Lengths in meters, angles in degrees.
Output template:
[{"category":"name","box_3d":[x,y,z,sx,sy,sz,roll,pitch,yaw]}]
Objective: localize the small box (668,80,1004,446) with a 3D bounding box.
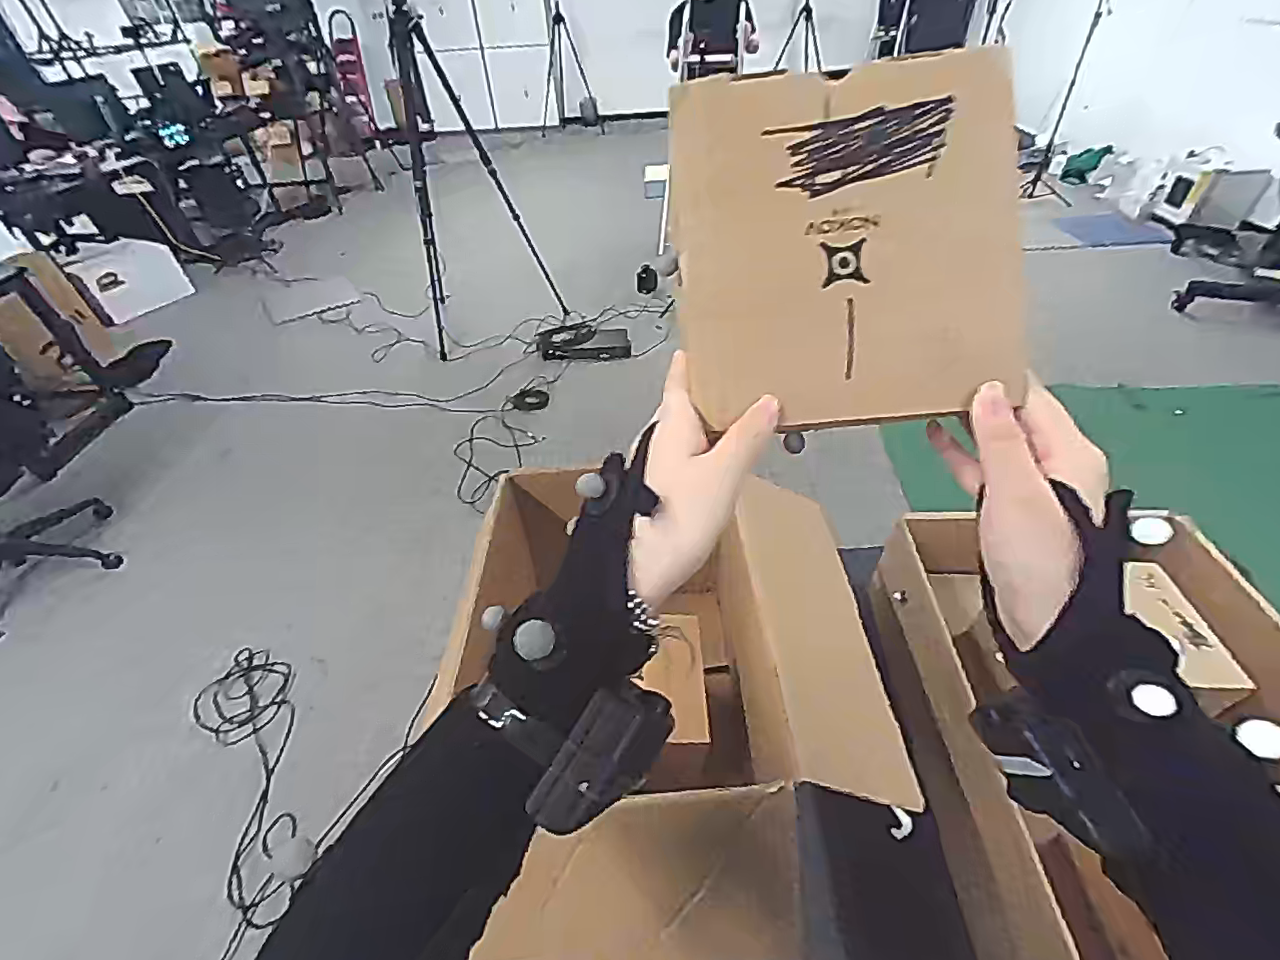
[{"category":"small box","box_3d":[0.105,-0.114,0.358,0.168,0.179,0.176,-4,4,4]}]
